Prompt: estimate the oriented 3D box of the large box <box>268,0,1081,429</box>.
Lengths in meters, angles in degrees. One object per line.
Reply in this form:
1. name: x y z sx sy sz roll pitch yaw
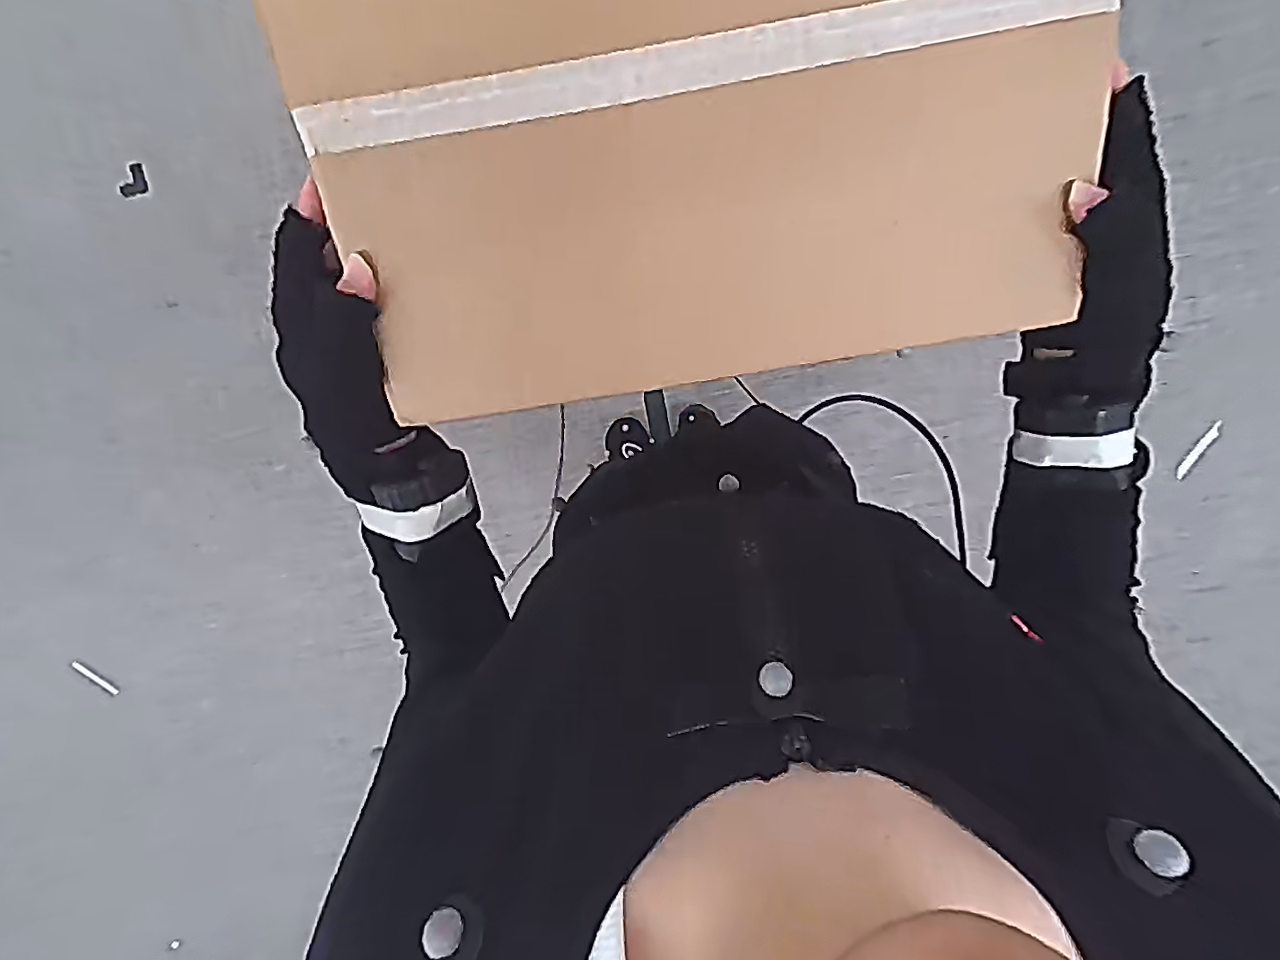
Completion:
1. large box: 0.023 -0.259 0.416 0.408 0.320 0.320 -9 111 2
